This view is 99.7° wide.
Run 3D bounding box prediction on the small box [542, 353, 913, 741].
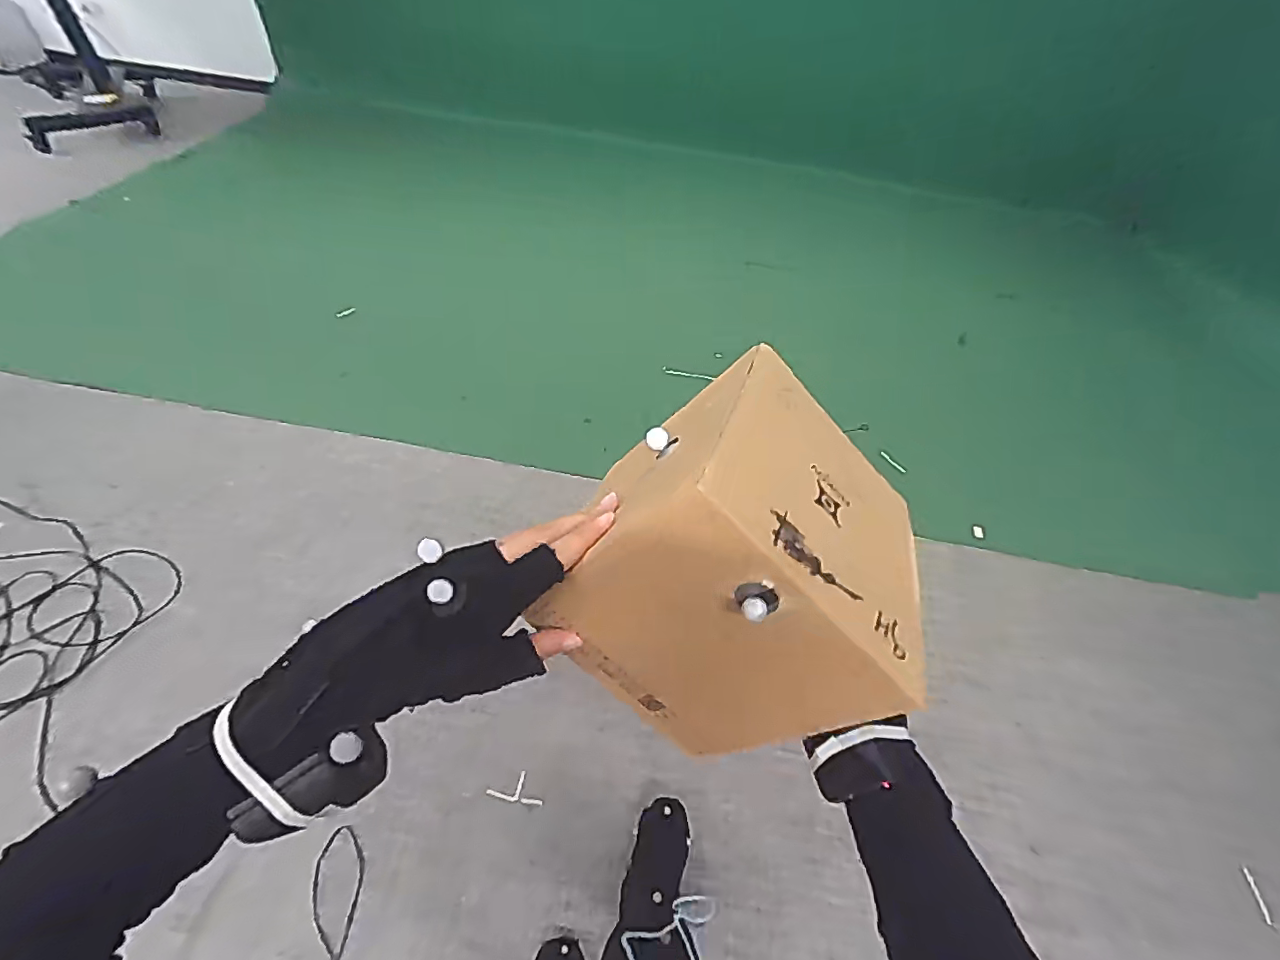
[{"bbox_3d":[0.060,0.049,0.380,0.168,0.176,0.179,44,39,-11],"label":"small box"}]
